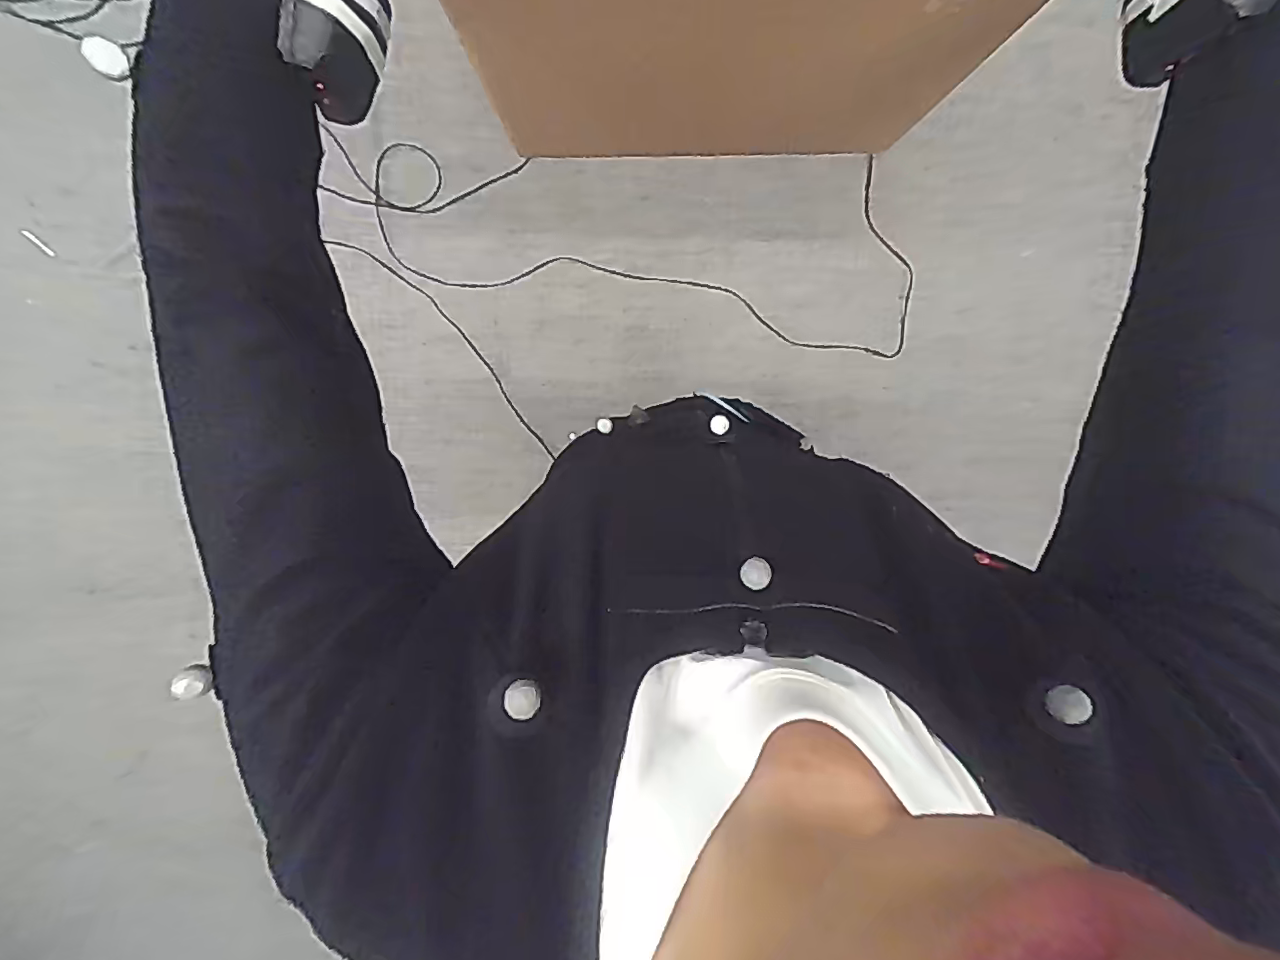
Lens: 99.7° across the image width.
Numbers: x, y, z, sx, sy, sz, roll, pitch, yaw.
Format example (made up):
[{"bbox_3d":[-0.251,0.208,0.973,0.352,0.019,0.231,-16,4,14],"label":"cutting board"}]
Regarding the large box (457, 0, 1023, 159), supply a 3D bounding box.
[{"bbox_3d":[0.065,-0.483,0.420,0.408,0.320,0.320,-2,99,-1],"label":"large box"}]
